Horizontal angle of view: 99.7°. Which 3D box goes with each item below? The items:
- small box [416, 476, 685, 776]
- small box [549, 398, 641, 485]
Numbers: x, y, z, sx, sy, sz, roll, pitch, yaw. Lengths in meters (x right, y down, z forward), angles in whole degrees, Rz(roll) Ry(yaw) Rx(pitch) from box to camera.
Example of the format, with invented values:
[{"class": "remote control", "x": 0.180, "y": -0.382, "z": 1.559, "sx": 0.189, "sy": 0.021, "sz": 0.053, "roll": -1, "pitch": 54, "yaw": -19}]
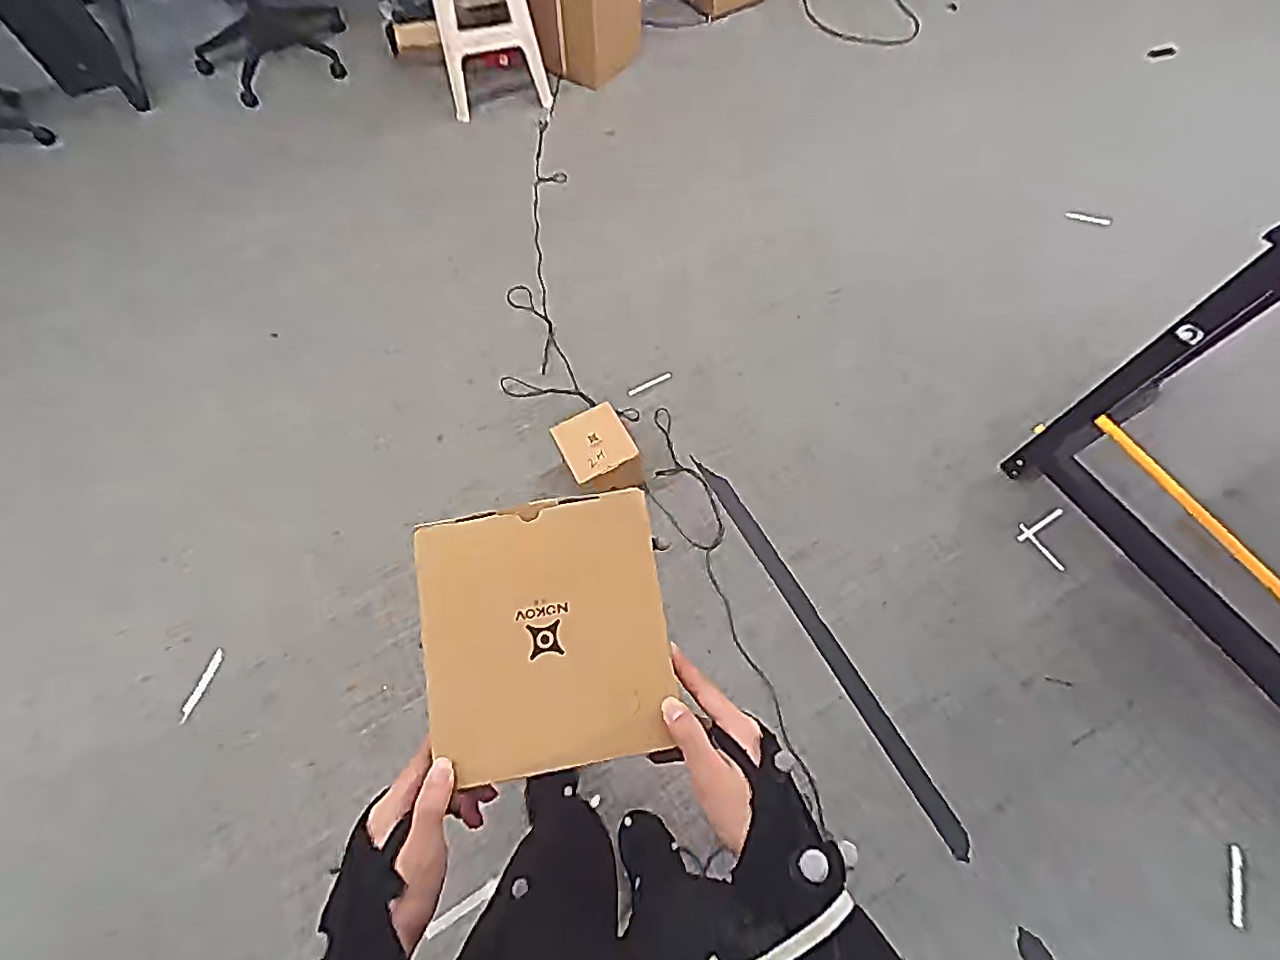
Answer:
[{"class": "small box", "x": -0.062, "y": 0.108, "z": 0.440, "sx": 0.168, "sy": 0.176, "sz": 0.179, "roll": -10, "pitch": 78, "yaw": -2}, {"class": "small box", "x": -0.110, "y": -0.070, "z": 1.371, "sx": 0.168, "sy": 0.176, "sz": 0.179, "roll": -27, "pitch": 67, "yaw": -8}]
